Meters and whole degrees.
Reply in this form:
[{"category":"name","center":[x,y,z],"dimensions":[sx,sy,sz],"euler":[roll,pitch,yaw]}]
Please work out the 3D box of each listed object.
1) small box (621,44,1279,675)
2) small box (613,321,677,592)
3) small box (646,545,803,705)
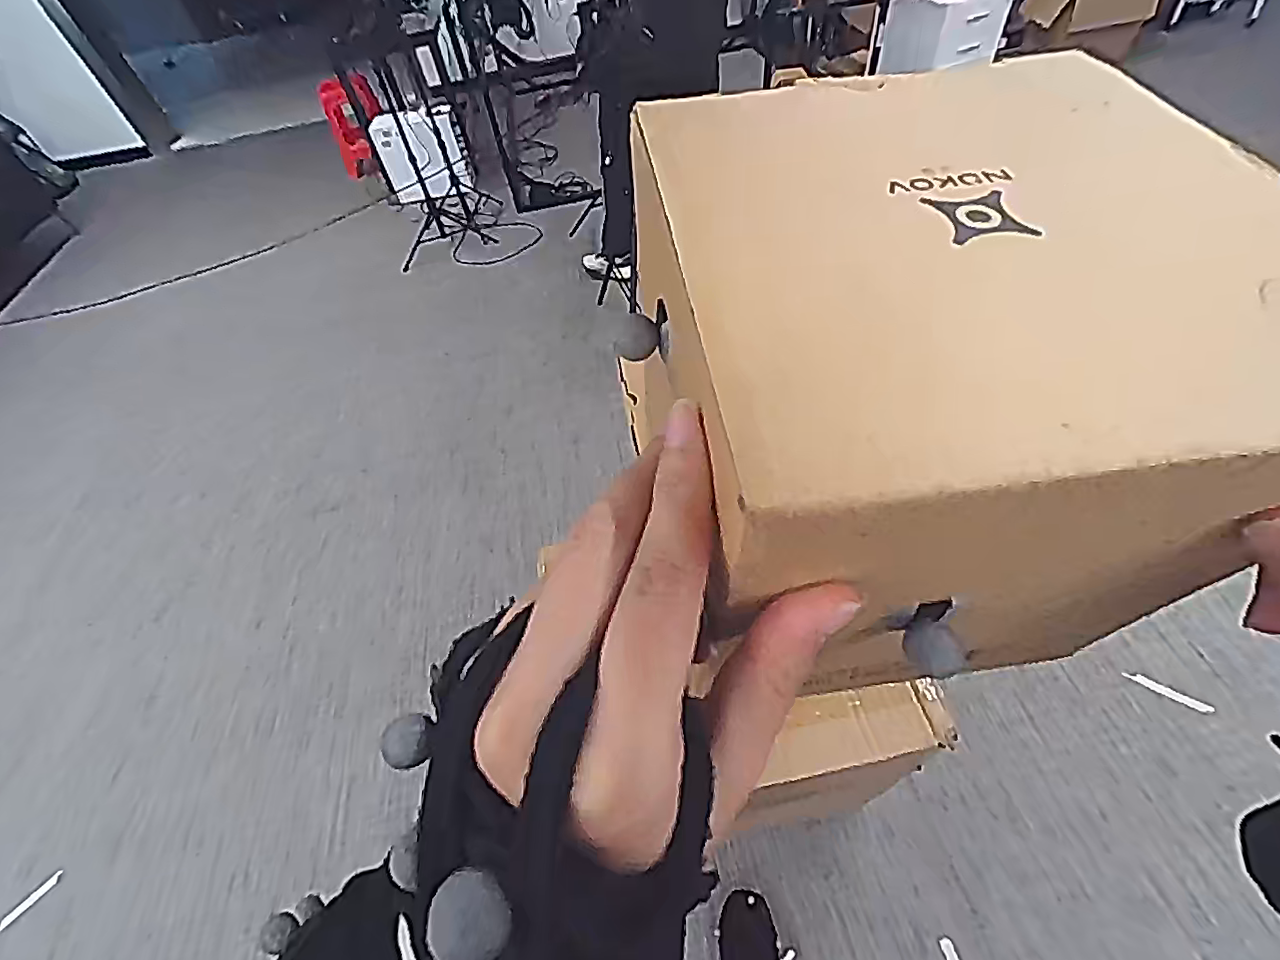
[{"category":"small box","center":[0.089,-0.034,0.217],"dimensions":[0.168,0.176,0.179],"euler":[-8,54,-2]},{"category":"small box","center":[0.082,-0.026,0.451],"dimensions":[0.179,0.176,0.168],"euler":[-11,51,0]},{"category":"small box","center":[0.113,0.178,0.708],"dimensions":[0.179,0.176,0.168],"euler":[-10,52,-1]}]
